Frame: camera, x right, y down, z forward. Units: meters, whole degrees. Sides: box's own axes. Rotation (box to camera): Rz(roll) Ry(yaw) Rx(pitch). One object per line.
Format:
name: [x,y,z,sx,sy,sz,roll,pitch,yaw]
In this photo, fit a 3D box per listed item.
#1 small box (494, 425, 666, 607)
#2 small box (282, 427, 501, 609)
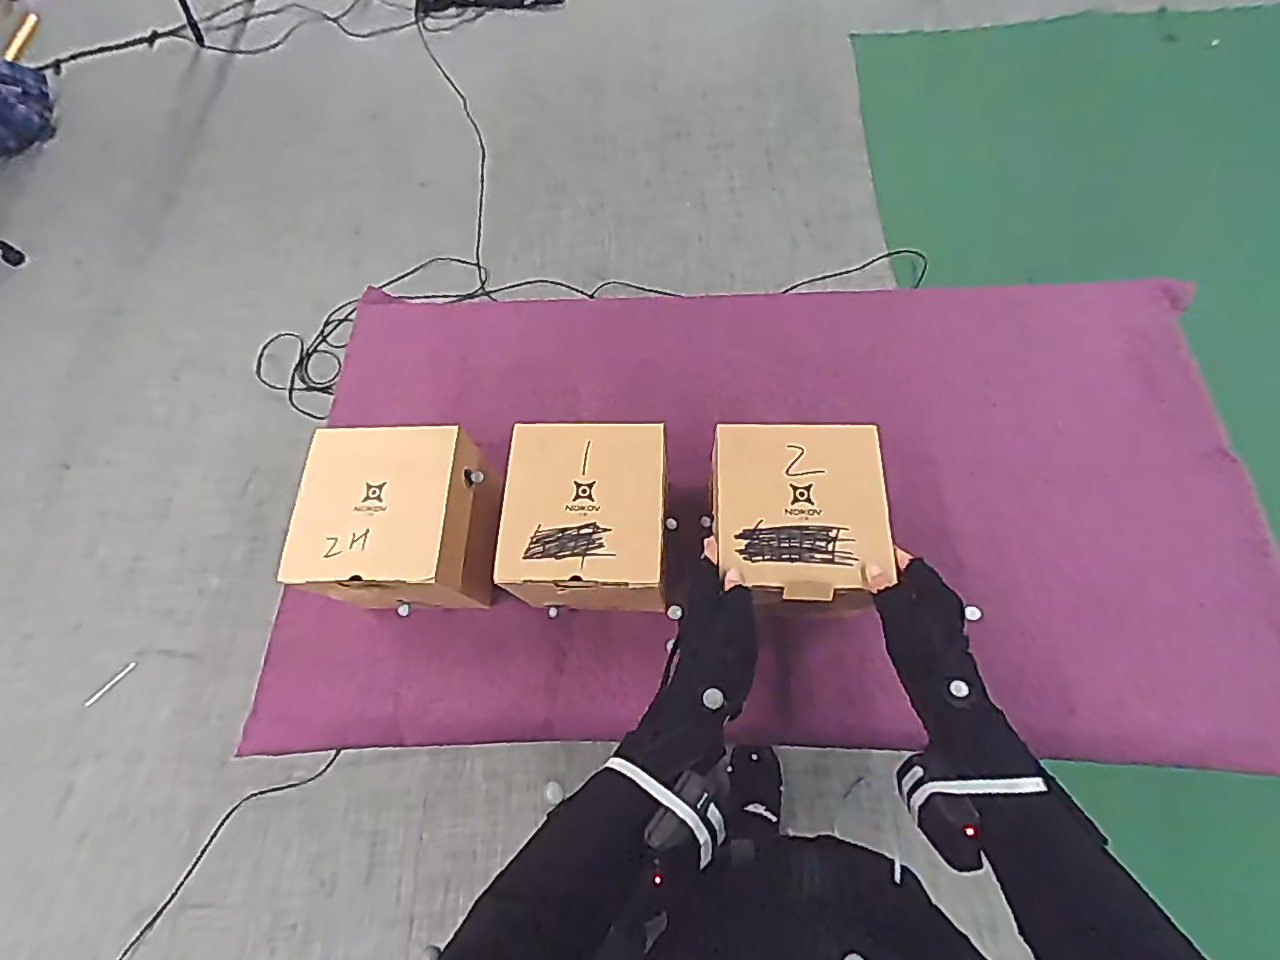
small box: [-0.055,0.050,0.632,0.168,0.176,0.179,0,68,4]
small box: [-0.275,0.052,0.647,0.168,0.176,0.179,-1,68,5]
